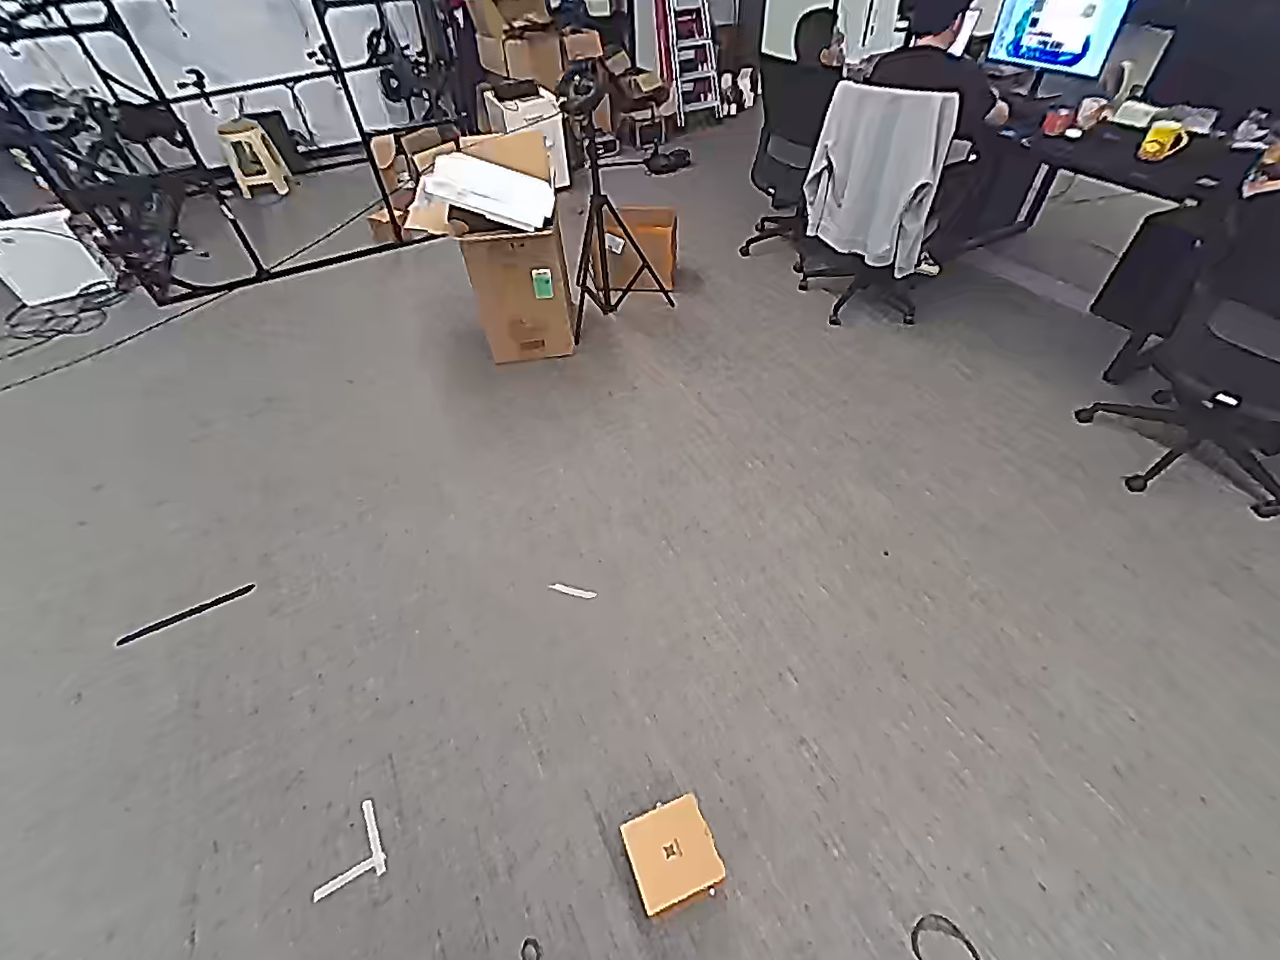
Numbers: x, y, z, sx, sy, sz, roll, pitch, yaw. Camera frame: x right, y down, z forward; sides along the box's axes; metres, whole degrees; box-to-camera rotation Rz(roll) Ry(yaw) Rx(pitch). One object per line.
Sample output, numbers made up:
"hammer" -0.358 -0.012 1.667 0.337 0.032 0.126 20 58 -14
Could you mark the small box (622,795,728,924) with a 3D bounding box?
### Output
"small box" 0.076 0.827 1.175 0.179 0.176 0.168 -18 48 -13
